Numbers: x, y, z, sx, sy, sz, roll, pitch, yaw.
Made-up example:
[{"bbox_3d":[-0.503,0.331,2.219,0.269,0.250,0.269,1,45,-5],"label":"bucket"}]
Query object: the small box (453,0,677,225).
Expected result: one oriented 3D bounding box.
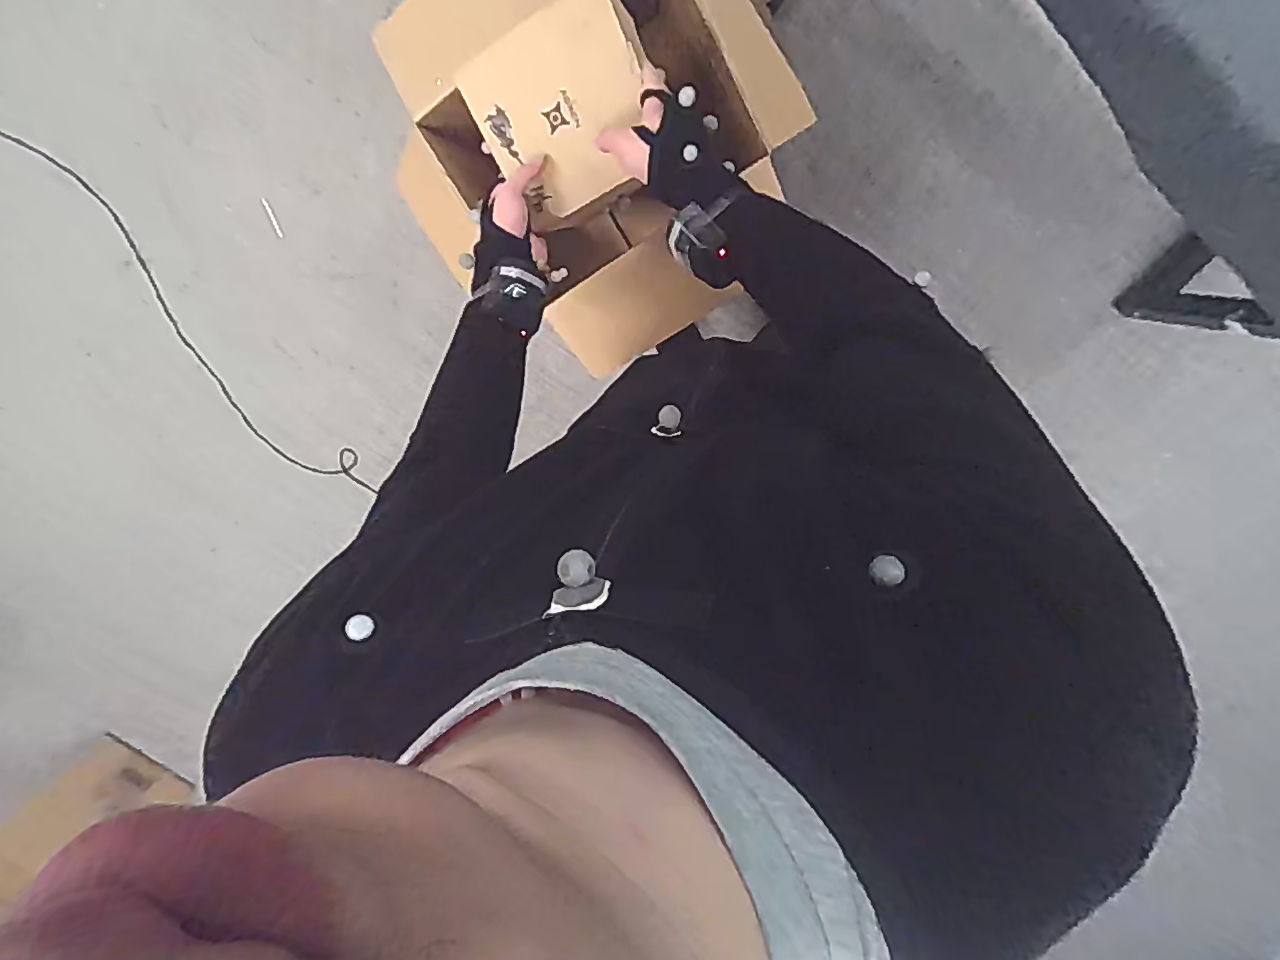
[{"bbox_3d":[-0.066,-0.410,0.606,0.179,0.176,0.168,-20,113,18],"label":"small box"}]
